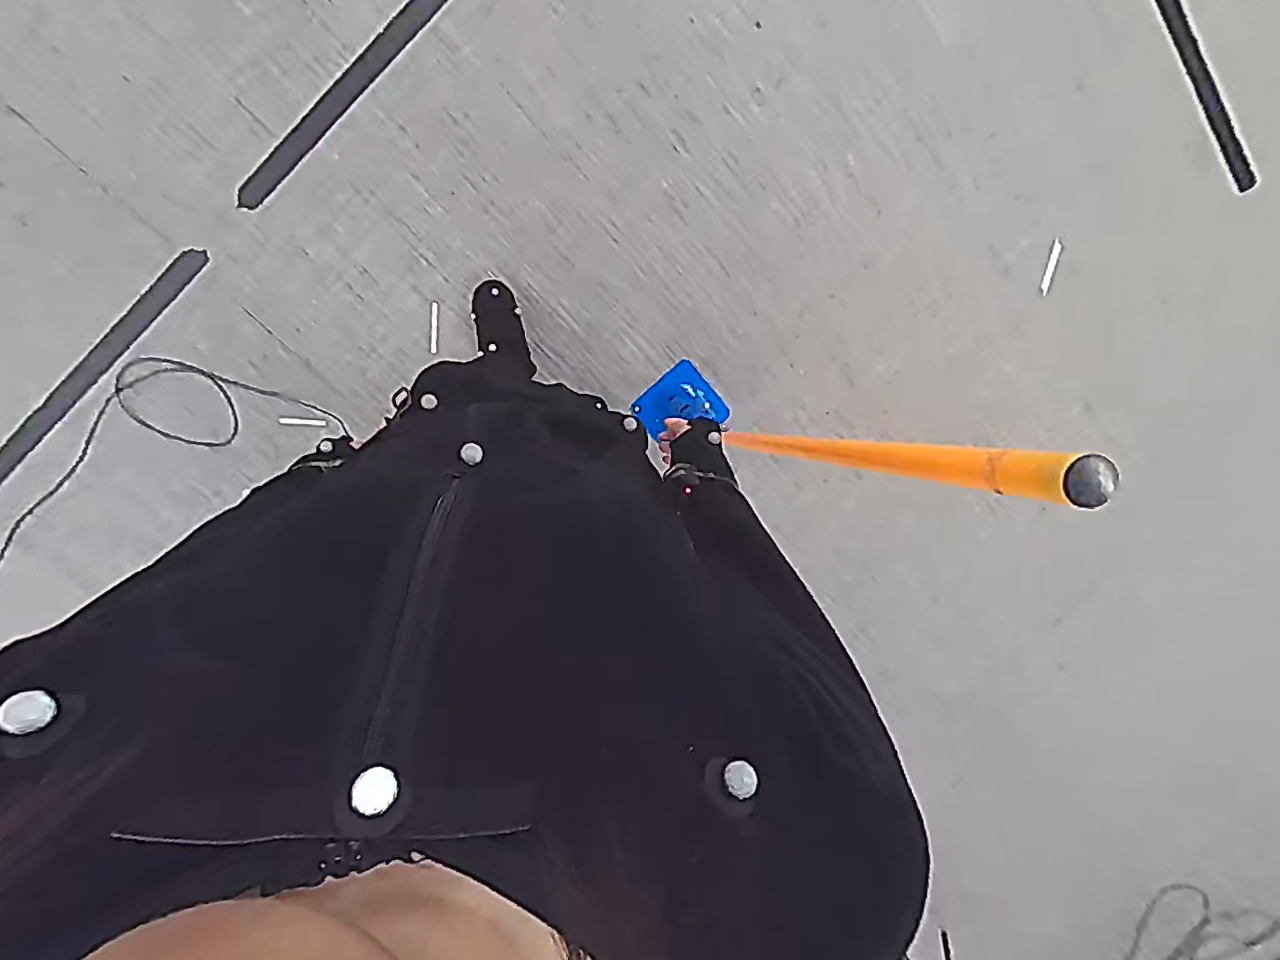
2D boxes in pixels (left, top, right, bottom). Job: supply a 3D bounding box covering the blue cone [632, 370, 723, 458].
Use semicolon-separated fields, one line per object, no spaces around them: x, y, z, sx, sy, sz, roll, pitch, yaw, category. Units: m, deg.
0.119;-0.124;1.249;0.192;0.380;0.193;-39;106;6;blue cone
